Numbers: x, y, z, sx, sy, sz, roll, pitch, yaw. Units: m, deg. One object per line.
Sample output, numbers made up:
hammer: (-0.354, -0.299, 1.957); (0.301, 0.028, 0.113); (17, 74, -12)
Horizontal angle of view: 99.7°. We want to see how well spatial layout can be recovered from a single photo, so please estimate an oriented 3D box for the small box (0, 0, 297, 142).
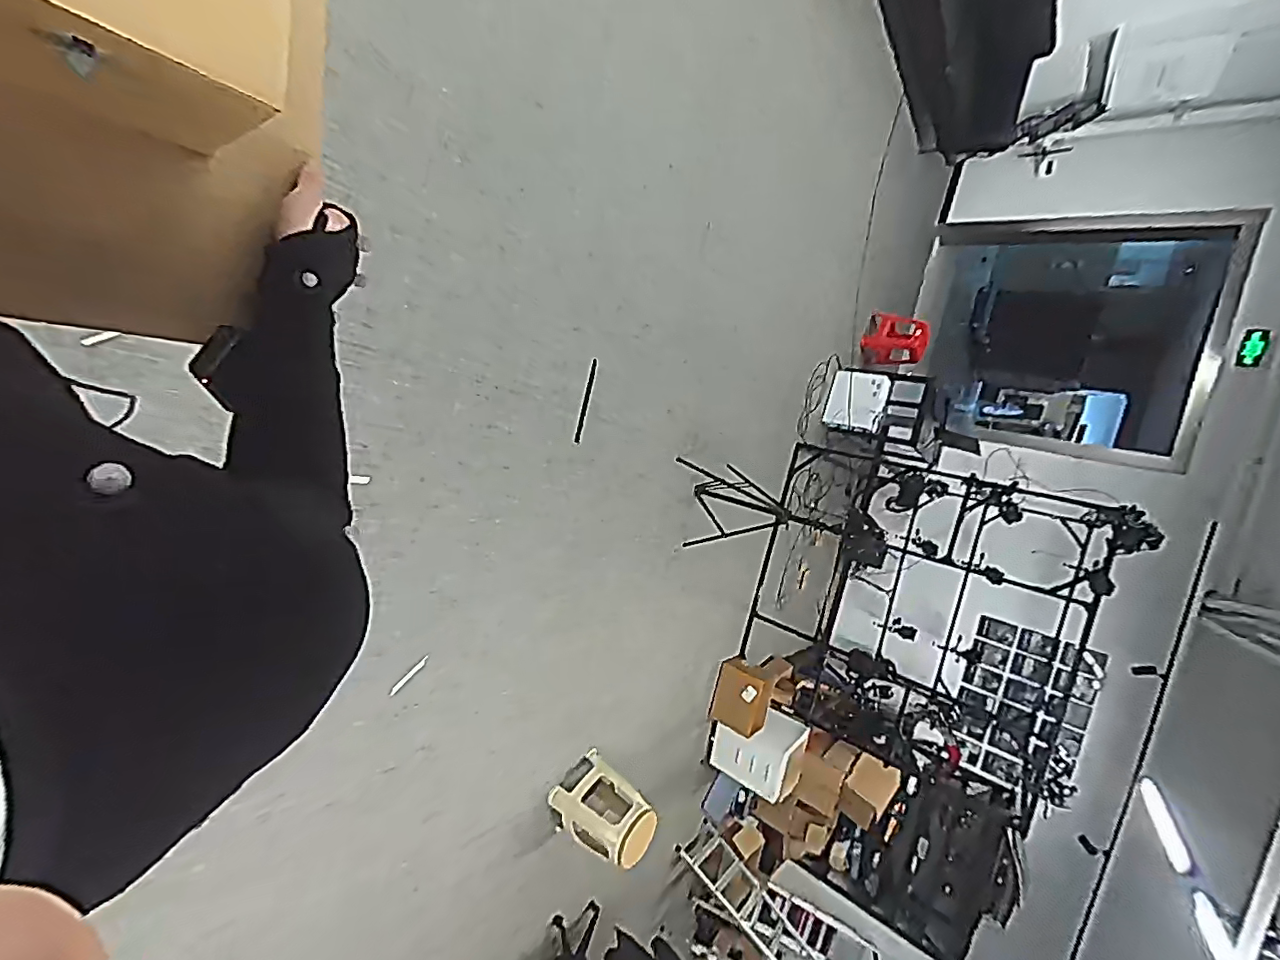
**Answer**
small box: (-0.356, -0.355, 0.361); (0.179, 0.176, 0.168); (0, 101, -51)
